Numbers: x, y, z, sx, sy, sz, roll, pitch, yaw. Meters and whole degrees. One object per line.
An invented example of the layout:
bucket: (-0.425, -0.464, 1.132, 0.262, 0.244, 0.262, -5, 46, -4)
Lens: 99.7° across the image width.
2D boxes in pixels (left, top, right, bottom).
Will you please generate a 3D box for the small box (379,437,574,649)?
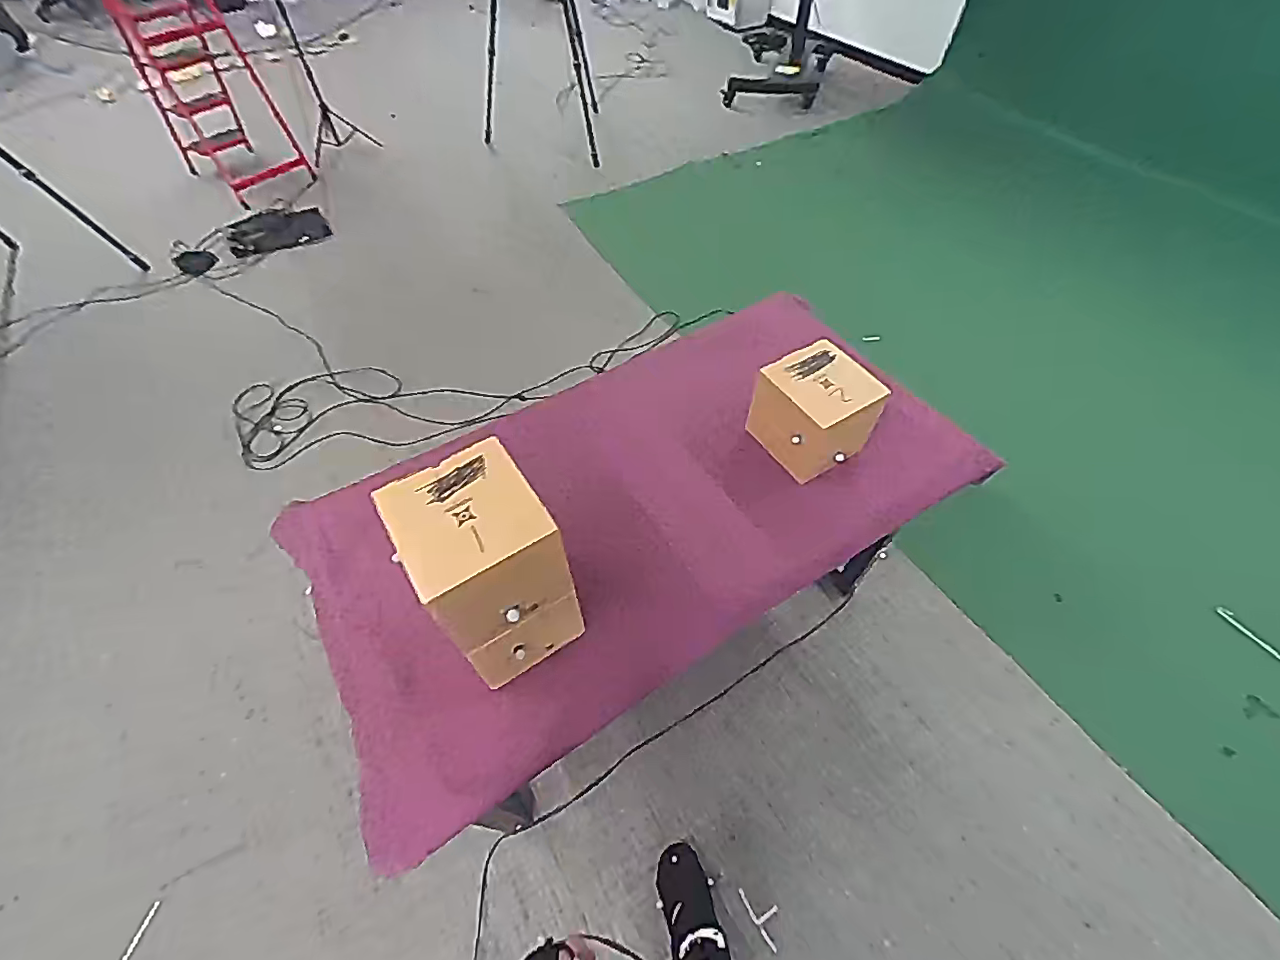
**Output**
small box: (-0.201, 0.083, 0.695, 0.168, 0.176, 0.179, -29, 59, -19)

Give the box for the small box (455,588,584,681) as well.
small box: (-0.199, 0.183, 0.825, 0.168, 0.176, 0.179, -29, 58, -19)
